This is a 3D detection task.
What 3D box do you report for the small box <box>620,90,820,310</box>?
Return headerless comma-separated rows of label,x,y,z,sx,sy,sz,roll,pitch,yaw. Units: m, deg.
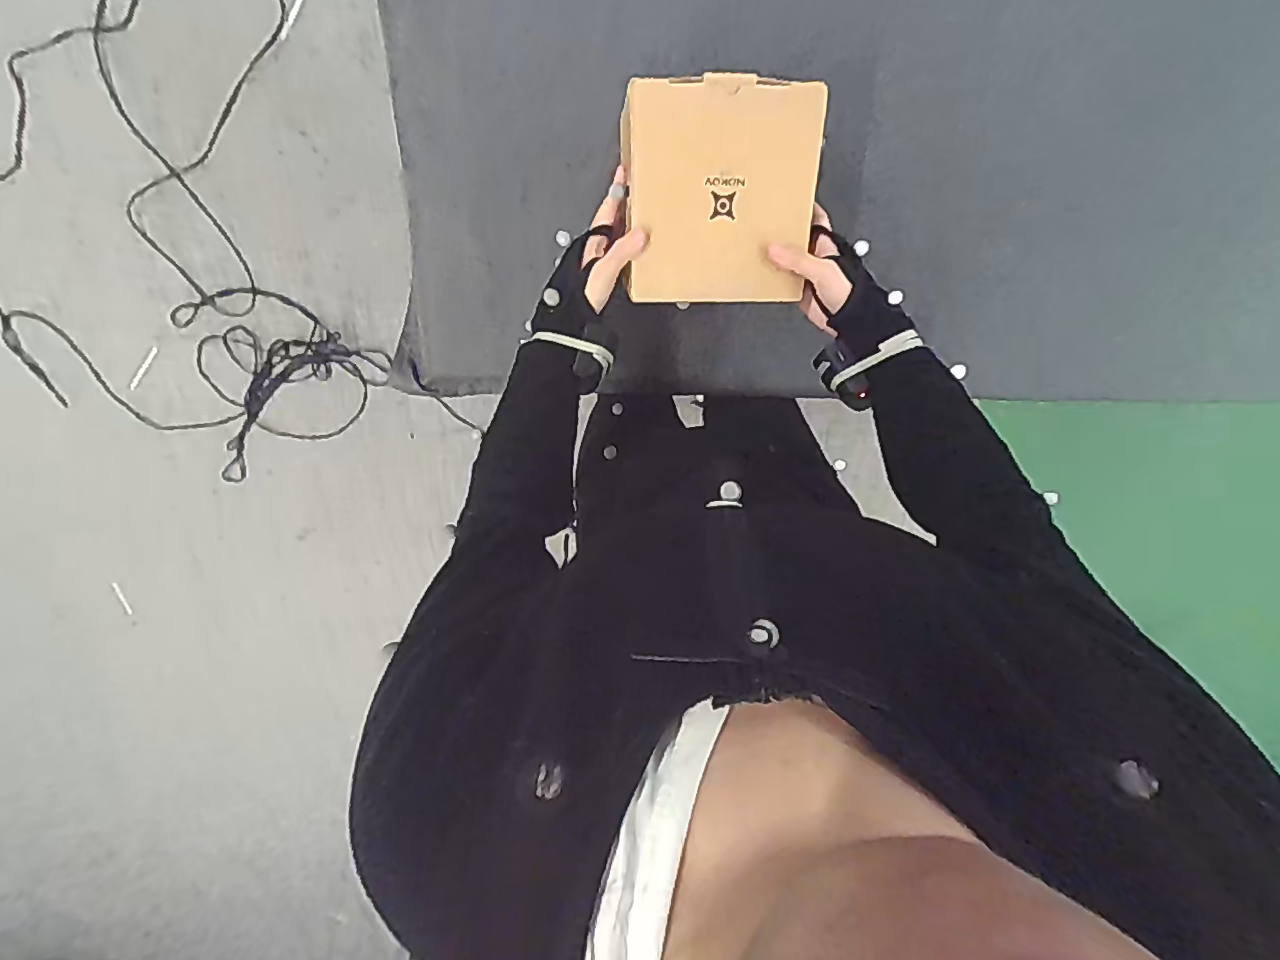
small box,0.066,-0.277,0.558,0.168,0.176,0.179,-2,114,-4
